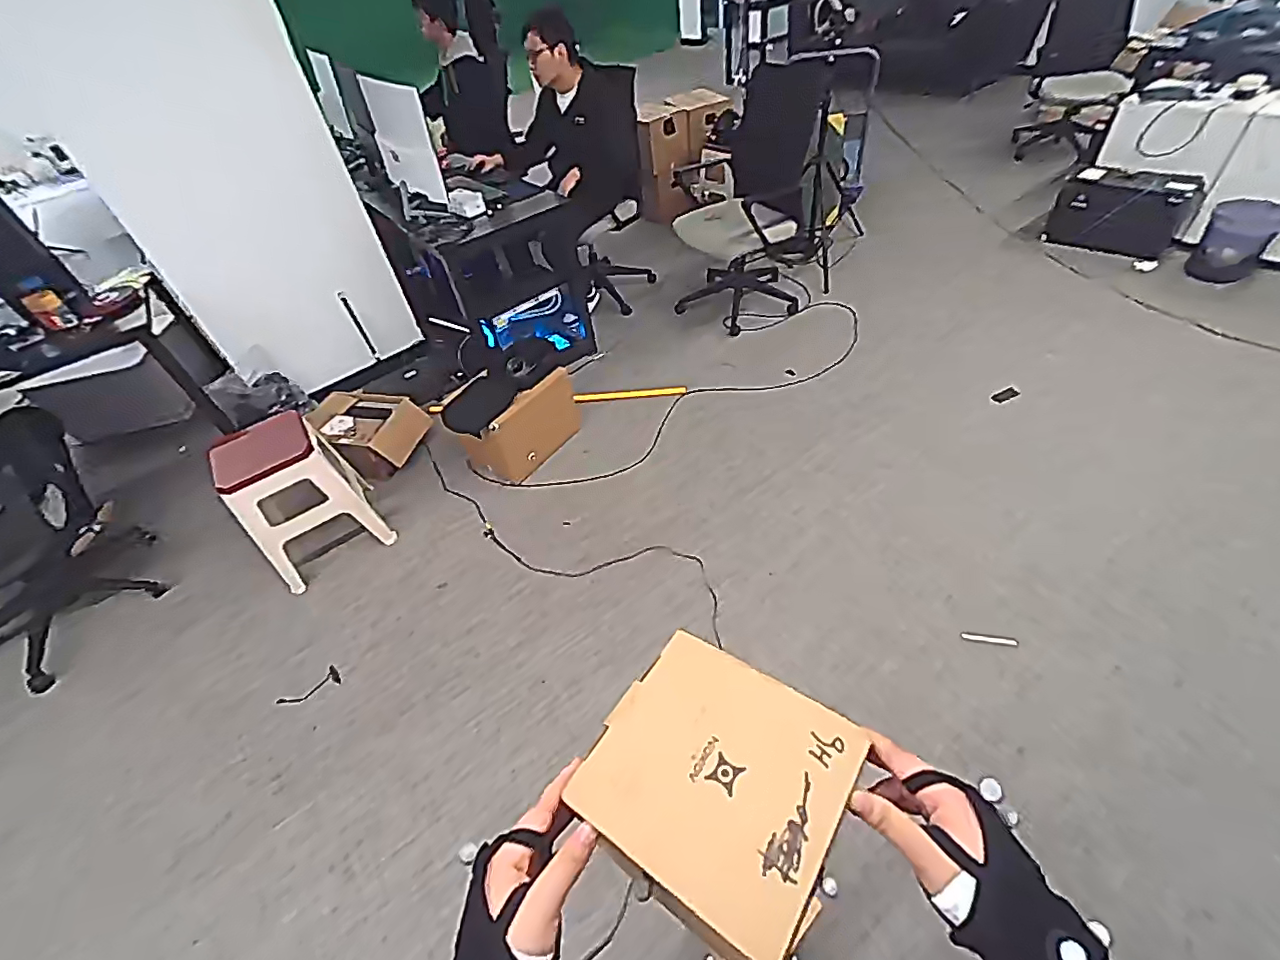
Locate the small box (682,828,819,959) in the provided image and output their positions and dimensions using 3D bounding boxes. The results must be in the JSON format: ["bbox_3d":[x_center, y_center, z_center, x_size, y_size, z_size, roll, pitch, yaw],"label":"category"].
[{"bbox_3d":[0.198,0.785,0.980,0.179,0.176,0.168,-37,53,-26],"label":"small box"}]
